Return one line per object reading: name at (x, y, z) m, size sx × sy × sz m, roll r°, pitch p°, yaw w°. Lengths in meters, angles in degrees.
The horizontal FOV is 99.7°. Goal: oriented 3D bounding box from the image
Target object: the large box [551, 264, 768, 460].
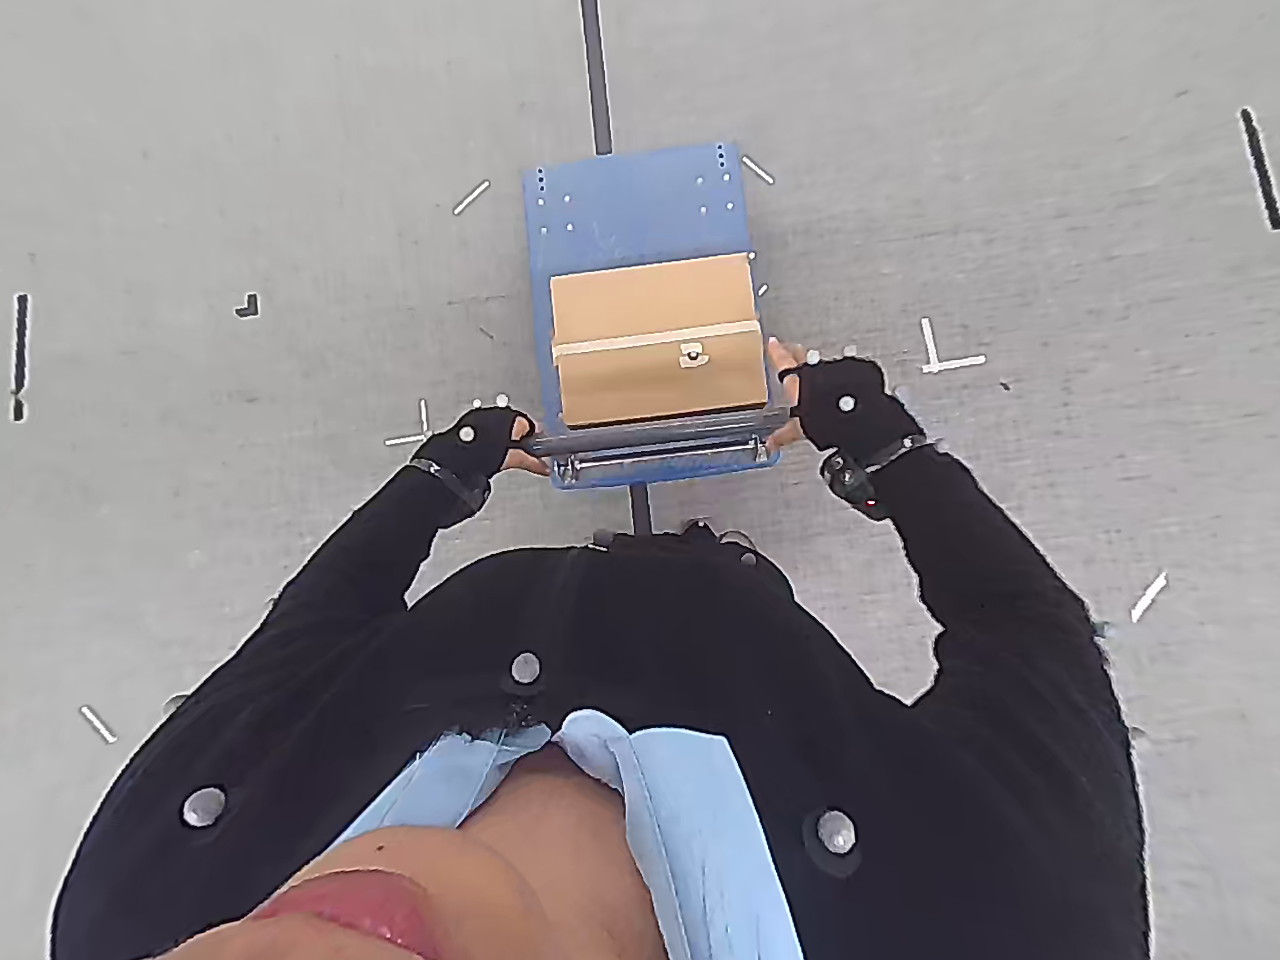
large box at (0.037, -0.240, 1.211) m, size 0.408 × 0.320 × 0.320 m, roll -6°, pitch 84°, yaw 1°
